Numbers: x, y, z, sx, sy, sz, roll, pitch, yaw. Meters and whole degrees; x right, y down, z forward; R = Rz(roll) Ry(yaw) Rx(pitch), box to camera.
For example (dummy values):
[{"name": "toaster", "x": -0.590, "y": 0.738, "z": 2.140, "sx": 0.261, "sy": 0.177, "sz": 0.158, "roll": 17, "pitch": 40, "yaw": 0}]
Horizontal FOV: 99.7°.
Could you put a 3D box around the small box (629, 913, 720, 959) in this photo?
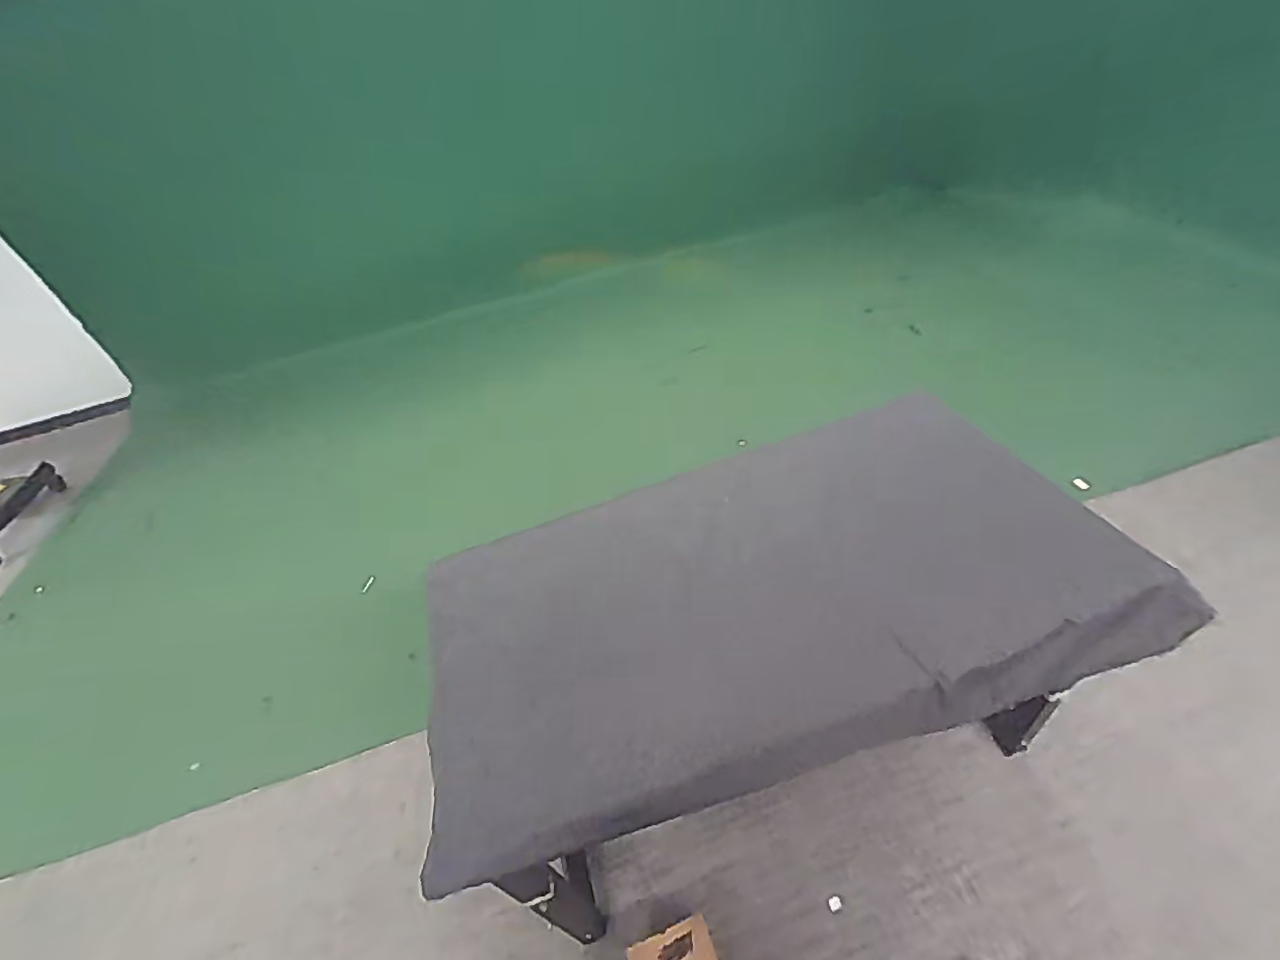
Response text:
[{"name": "small box", "x": 0.090, "y": 1.015, "z": 1.078, "sx": 0.168, "sy": 0.176, "sz": 0.179, "roll": -20, "pitch": 43, "yaw": -8}]
